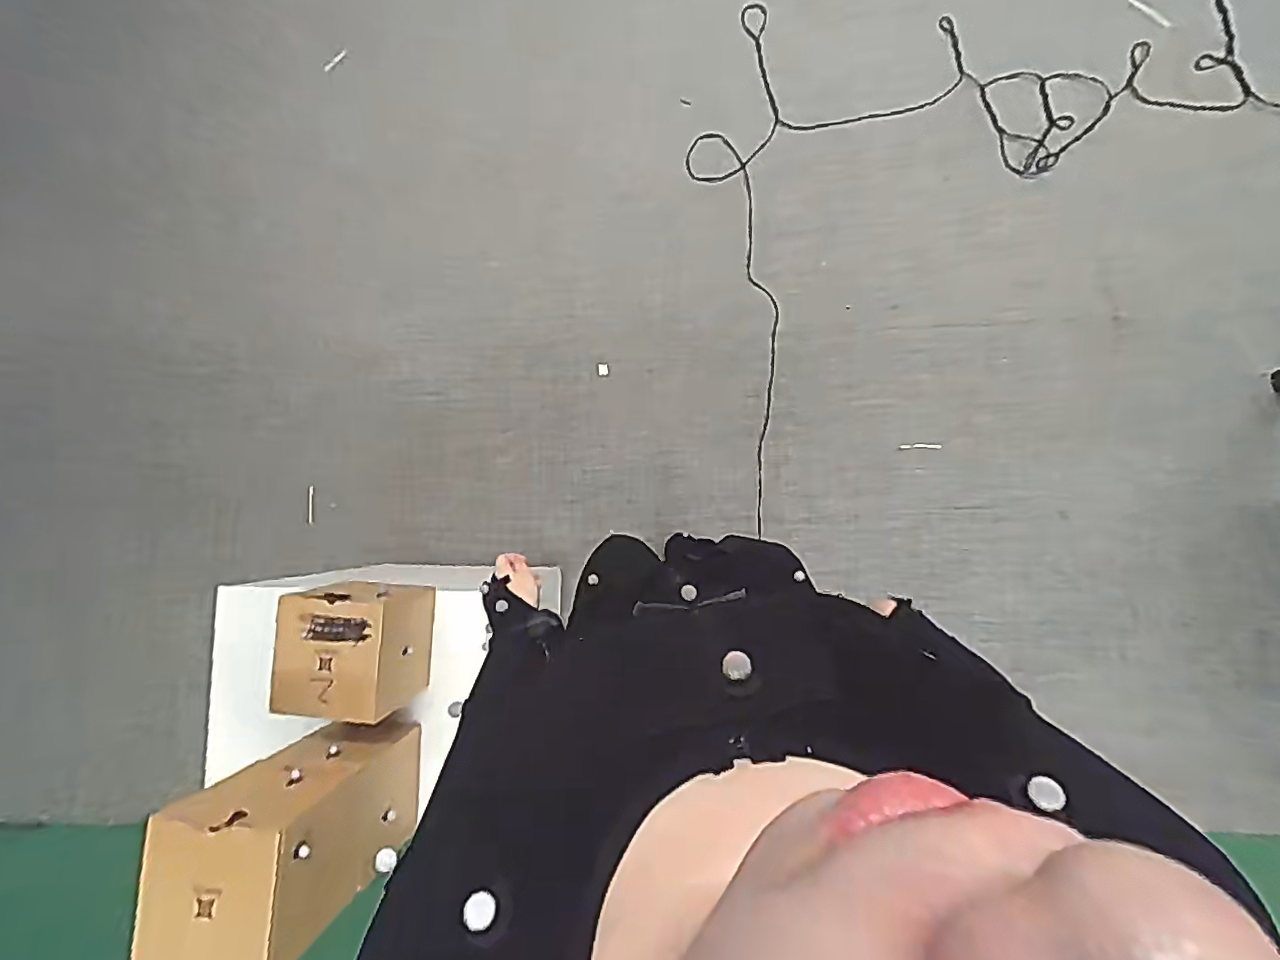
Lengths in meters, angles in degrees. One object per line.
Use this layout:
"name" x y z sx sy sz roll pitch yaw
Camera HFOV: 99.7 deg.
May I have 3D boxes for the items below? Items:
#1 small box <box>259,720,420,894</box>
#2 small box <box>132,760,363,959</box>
"small box" -0.463 0.499 0.847 0.168 0.176 0.179 -1 85 4
"small box" -0.478 0.485 0.685 0.168 0.176 0.179 1 83 5
